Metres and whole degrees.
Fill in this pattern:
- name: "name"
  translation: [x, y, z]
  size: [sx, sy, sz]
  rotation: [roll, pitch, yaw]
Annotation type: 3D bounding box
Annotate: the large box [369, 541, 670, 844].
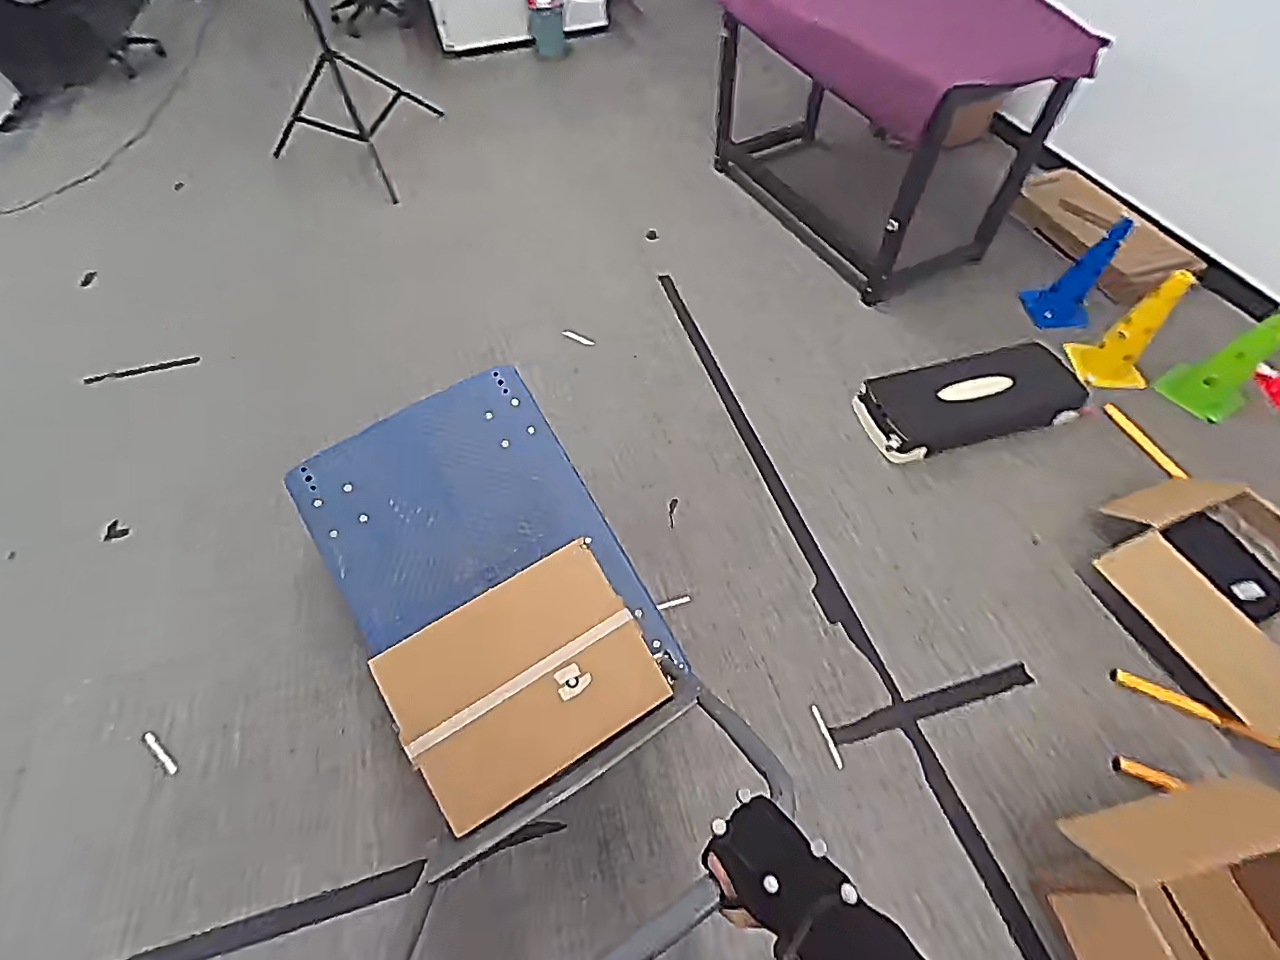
- name: "large box"
  translation: [-0.209, 0.366, 1.025]
  size: [0.408, 0.320, 0.320]
  rotation: [-30, 83, -13]
